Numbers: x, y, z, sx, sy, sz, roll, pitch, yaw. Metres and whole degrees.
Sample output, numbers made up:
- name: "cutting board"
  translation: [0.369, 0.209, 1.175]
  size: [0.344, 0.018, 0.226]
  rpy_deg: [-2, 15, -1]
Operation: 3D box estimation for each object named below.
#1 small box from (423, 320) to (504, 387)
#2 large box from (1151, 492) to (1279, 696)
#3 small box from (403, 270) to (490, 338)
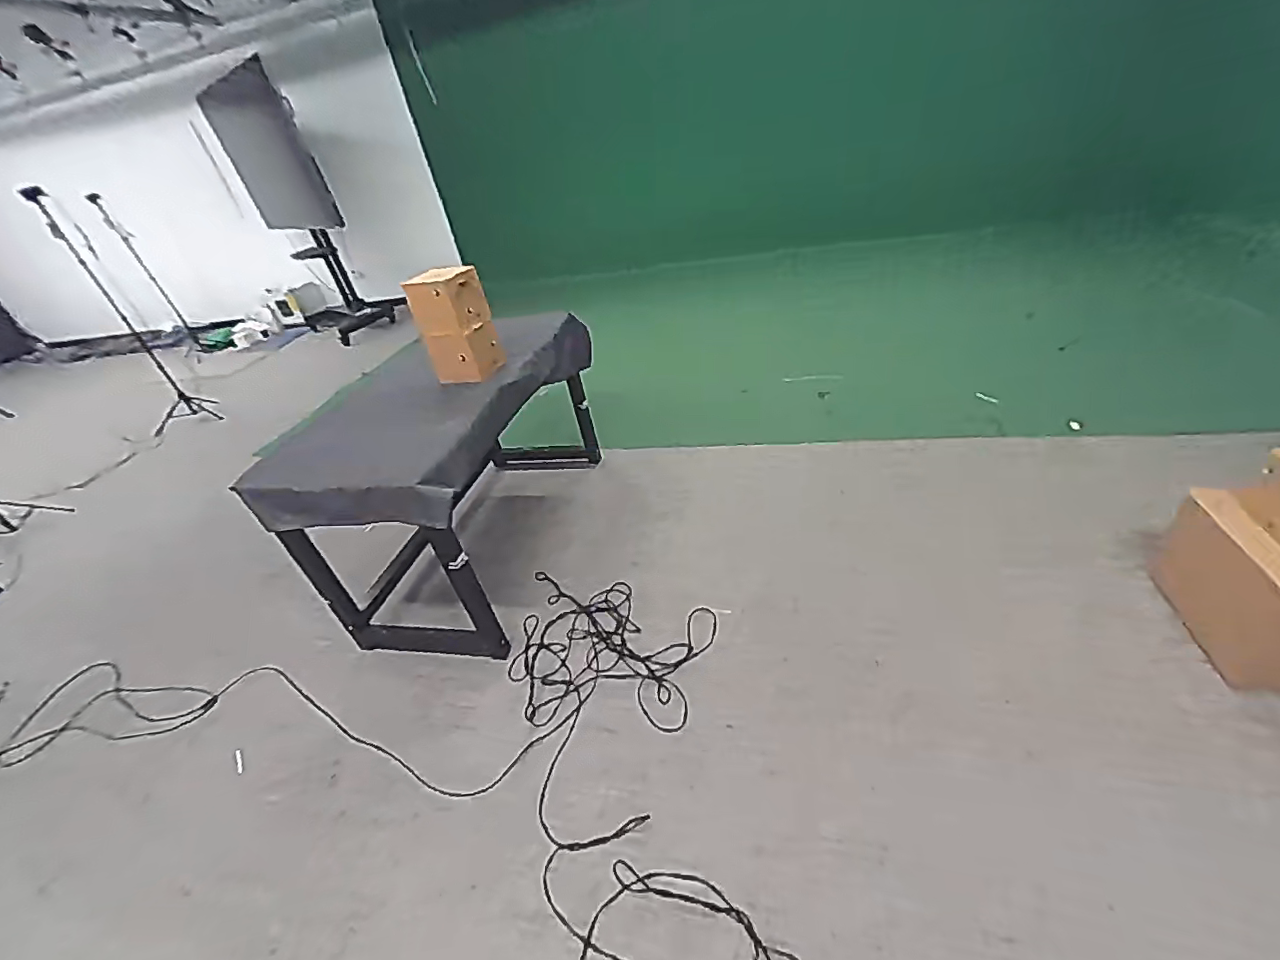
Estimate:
- name: "small box"
  translation: [-0.588, -0.426, 1.833]
  size: [0.179, 0.176, 0.168]
  rpy_deg: [0, 35, 19]
- name: "large box"
  translation: [1.593, 0.271, 1.326]
  size: [0.320, 0.320, 0.408]
  rpy_deg: [-2, 37, 16]
- name: "small box"
  translation: [-0.624, -0.571, 1.763]
  size: [0.179, 0.176, 0.168]
  rpy_deg: [4, 37, 22]
